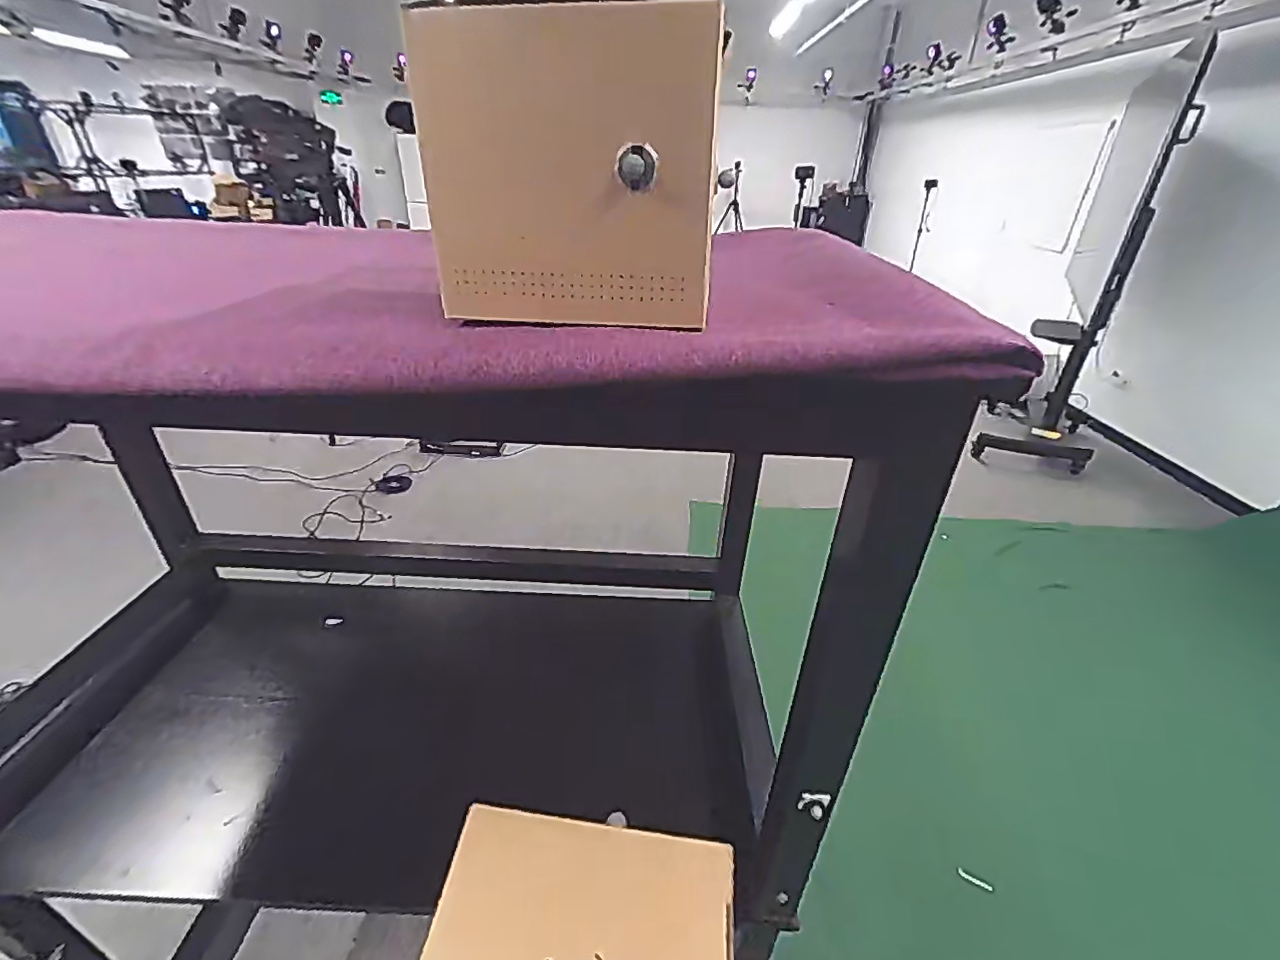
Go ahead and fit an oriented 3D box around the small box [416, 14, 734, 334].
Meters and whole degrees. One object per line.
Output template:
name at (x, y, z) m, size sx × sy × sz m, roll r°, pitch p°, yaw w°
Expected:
small box at (-0.029, -0.205, 0.394) m, size 0.179 × 0.176 × 0.168 m, roll 3°, pitch 26°, yaw 6°
